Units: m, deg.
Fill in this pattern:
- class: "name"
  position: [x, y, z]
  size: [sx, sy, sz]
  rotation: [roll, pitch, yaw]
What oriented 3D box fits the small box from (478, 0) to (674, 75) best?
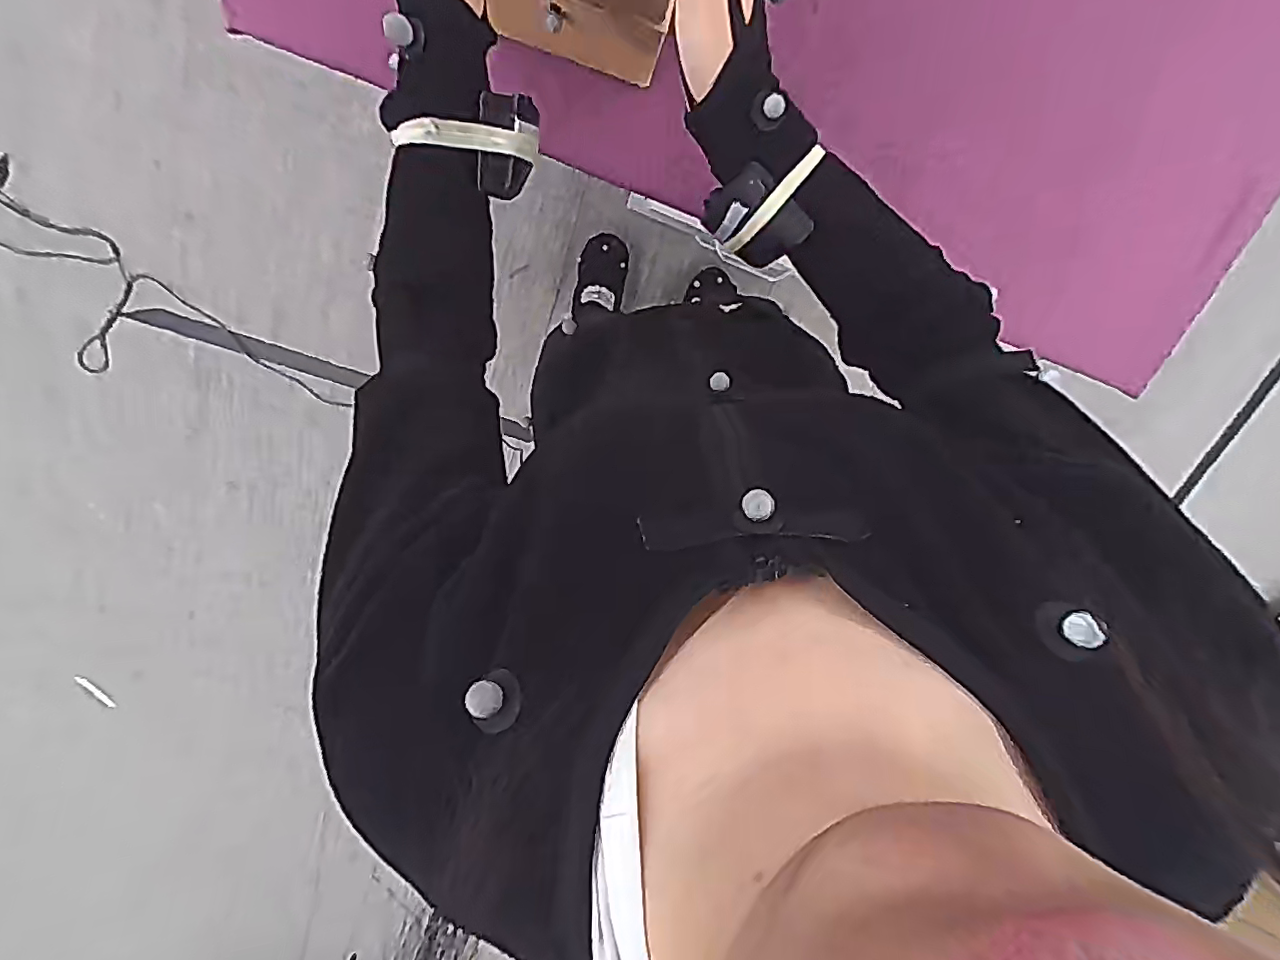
- class: "small box"
  position: [-0.047, -0.489, 0.473]
  size: [0.179, 0.176, 0.168]
  rotation: [14, 112, -10]
